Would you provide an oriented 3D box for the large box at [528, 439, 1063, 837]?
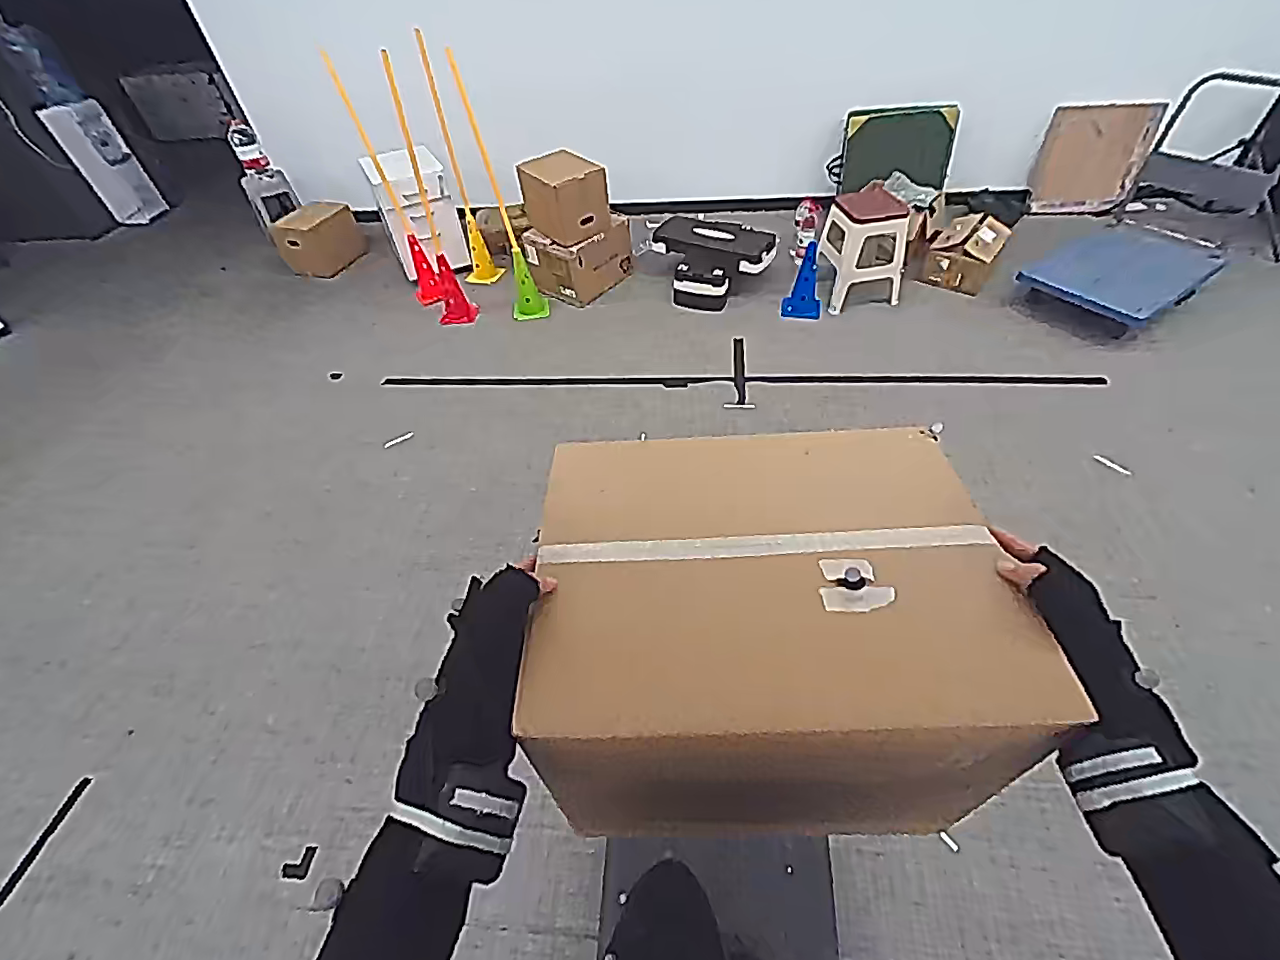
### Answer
[{"bbox_3d":[0.117,0.177,0.605,0.408,0.320,0.320,-3,45,2],"label":"large box"}]
